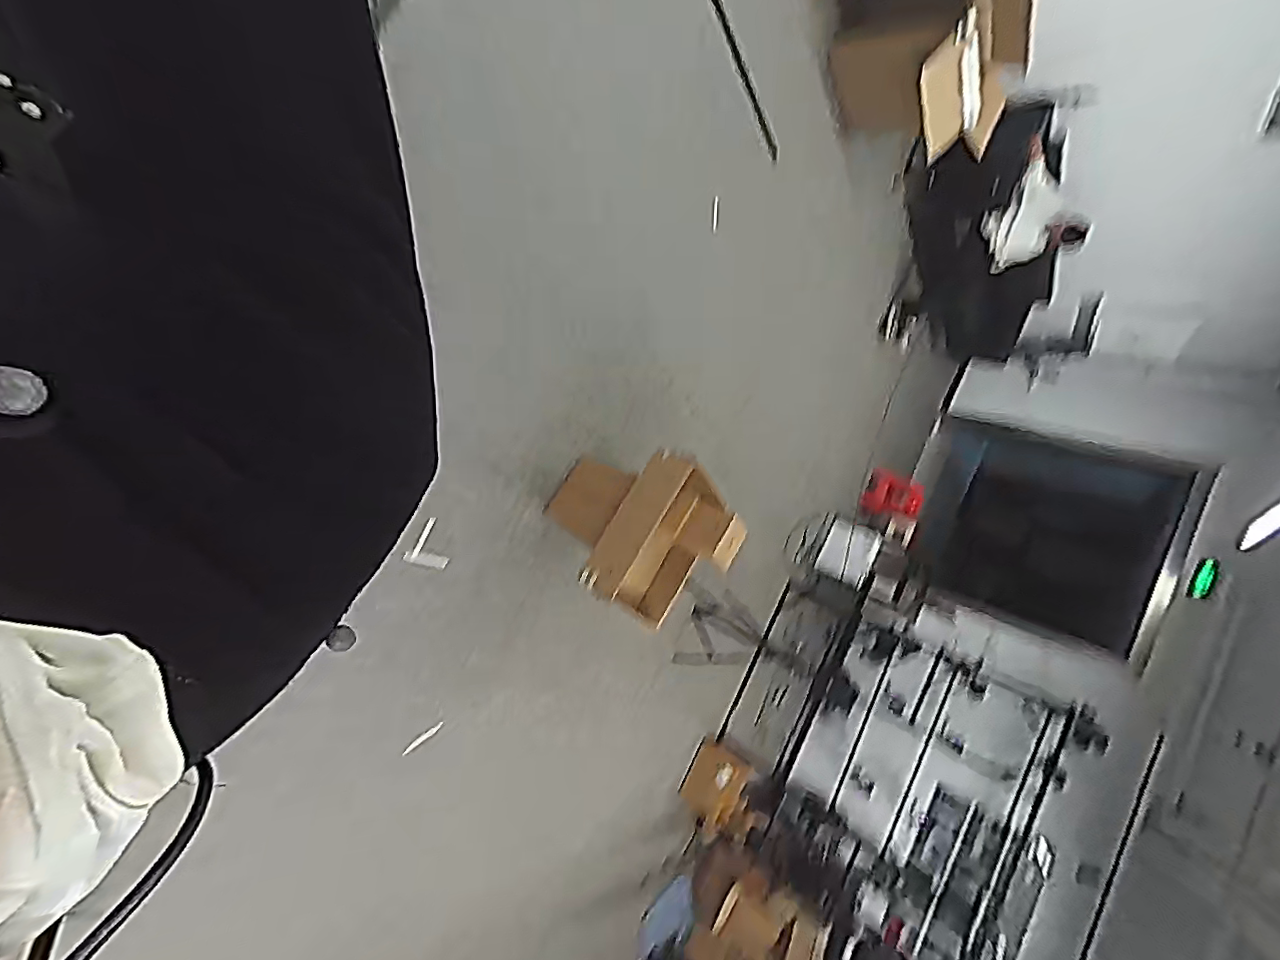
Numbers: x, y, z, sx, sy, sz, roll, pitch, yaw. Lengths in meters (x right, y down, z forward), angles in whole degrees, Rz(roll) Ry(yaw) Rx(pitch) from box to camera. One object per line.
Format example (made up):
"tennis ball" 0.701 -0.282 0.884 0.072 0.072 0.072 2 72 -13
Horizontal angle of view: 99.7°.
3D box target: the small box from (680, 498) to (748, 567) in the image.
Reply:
"small box" 0.276 0.193 2.029 0.179 0.176 0.168 -58 142 -12

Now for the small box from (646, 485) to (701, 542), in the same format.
"small box" 0.152 0.136 2.123 0.168 0.176 0.179 -59 143 -11
